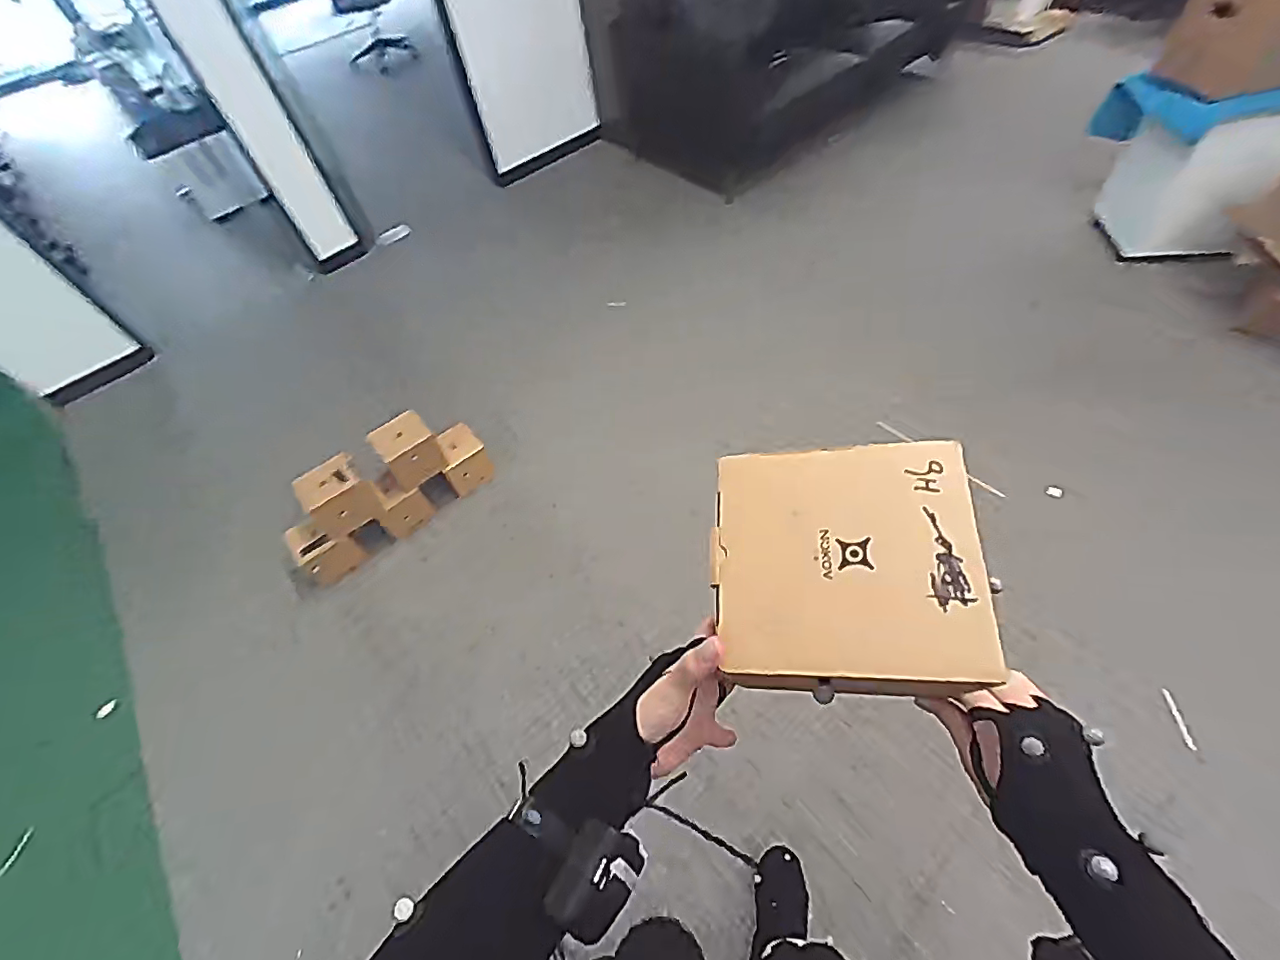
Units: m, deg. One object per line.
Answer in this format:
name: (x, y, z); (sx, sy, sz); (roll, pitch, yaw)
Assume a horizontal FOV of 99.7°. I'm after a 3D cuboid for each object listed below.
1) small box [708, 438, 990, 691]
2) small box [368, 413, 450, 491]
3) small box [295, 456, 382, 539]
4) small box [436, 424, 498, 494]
small box: (0.158, 0.083, 0.453); (0.179, 0.176, 0.168); (-4, 64, 16)
small box: (-0.790, -0.093, 1.863); (0.179, 0.176, 0.168); (-37, 58, -20)
small box: (-0.981, 0.060, 1.777); (0.179, 0.176, 0.168); (-35, 57, -16)
small box: (-0.664, -0.070, 2.033); (0.168, 0.176, 0.179); (-37, 57, -18)
